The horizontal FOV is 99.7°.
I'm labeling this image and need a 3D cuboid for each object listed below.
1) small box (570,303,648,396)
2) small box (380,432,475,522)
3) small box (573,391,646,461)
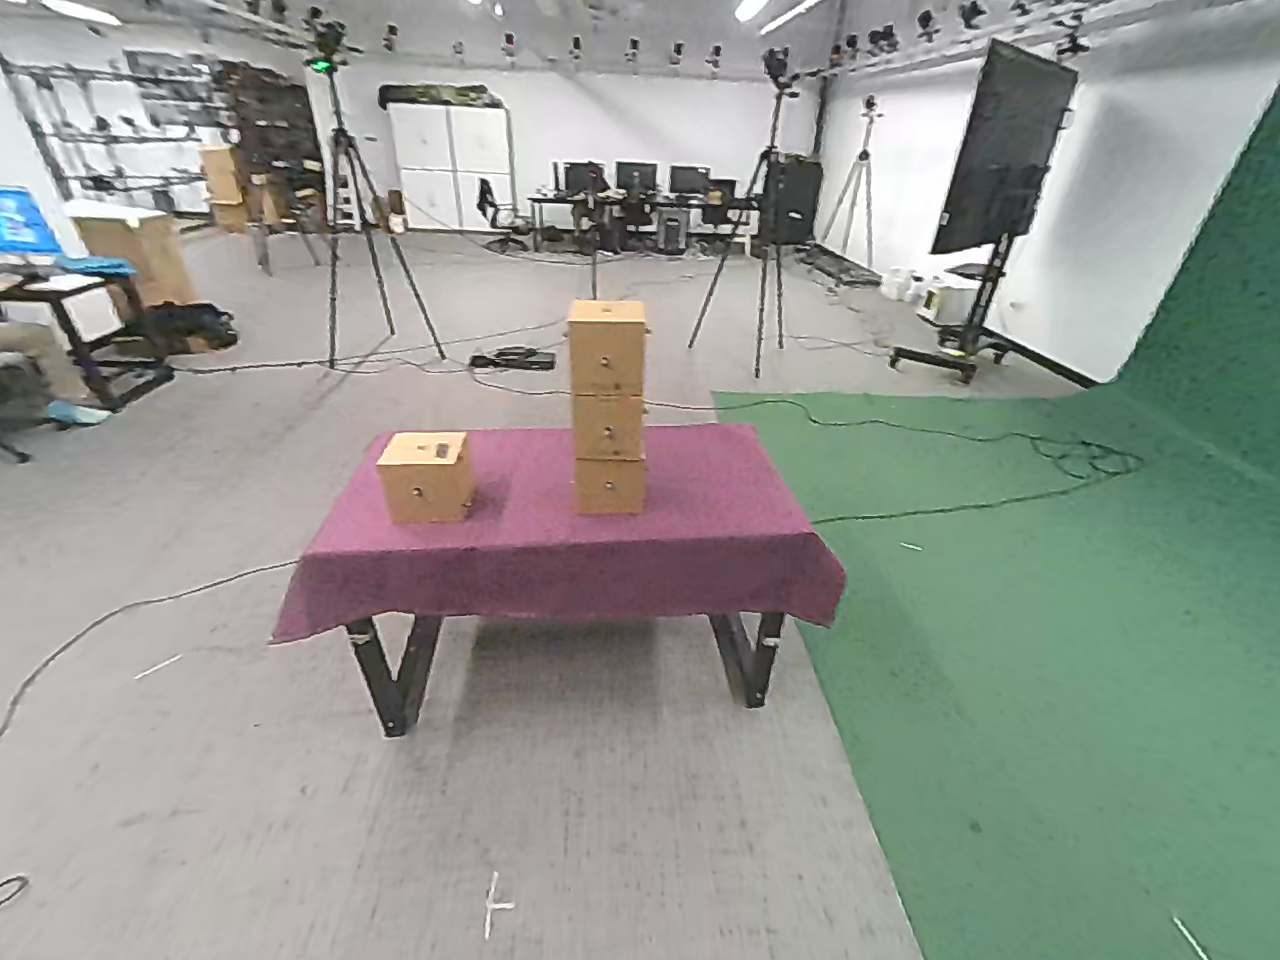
[{"bbox_3d":[-0.066,-0.298,1.234,0.168,0.176,0.179,1,31,-2],"label":"small box"},{"bbox_3d":[-0.520,-0.007,1.356,0.179,0.176,0.168,-1,32,-5],"label":"small box"},{"bbox_3d":[-0.070,-0.159,1.323,0.168,0.176,0.179,2,33,-1],"label":"small box"}]
